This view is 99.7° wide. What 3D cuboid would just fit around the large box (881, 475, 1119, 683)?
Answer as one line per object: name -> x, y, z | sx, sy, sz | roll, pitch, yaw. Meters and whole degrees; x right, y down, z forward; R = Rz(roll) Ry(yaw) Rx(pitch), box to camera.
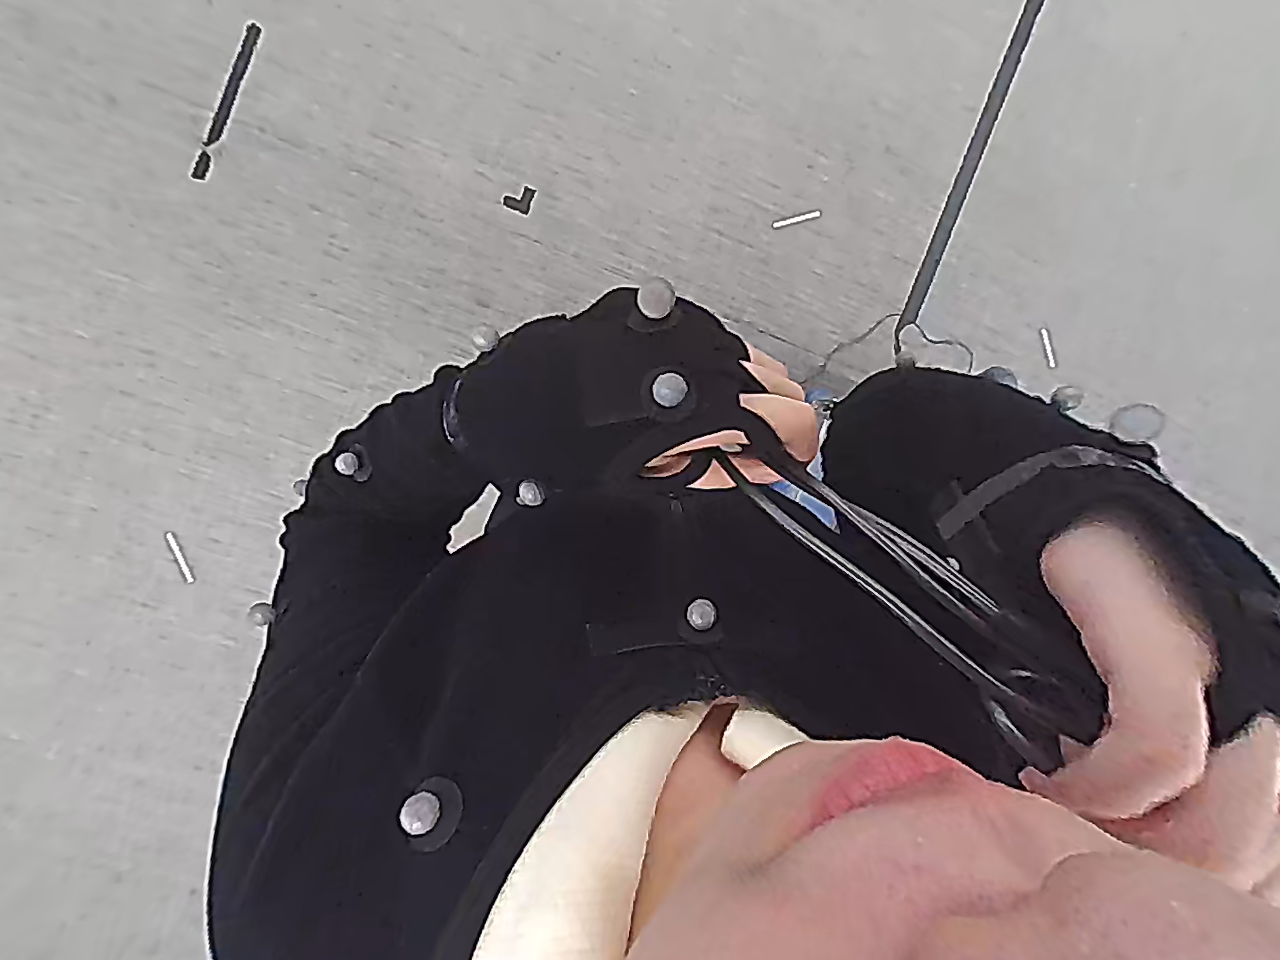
large box -> 0.823, 0.212, 1.284 | 0.320, 0.320, 0.408 | 8, 94, -6
